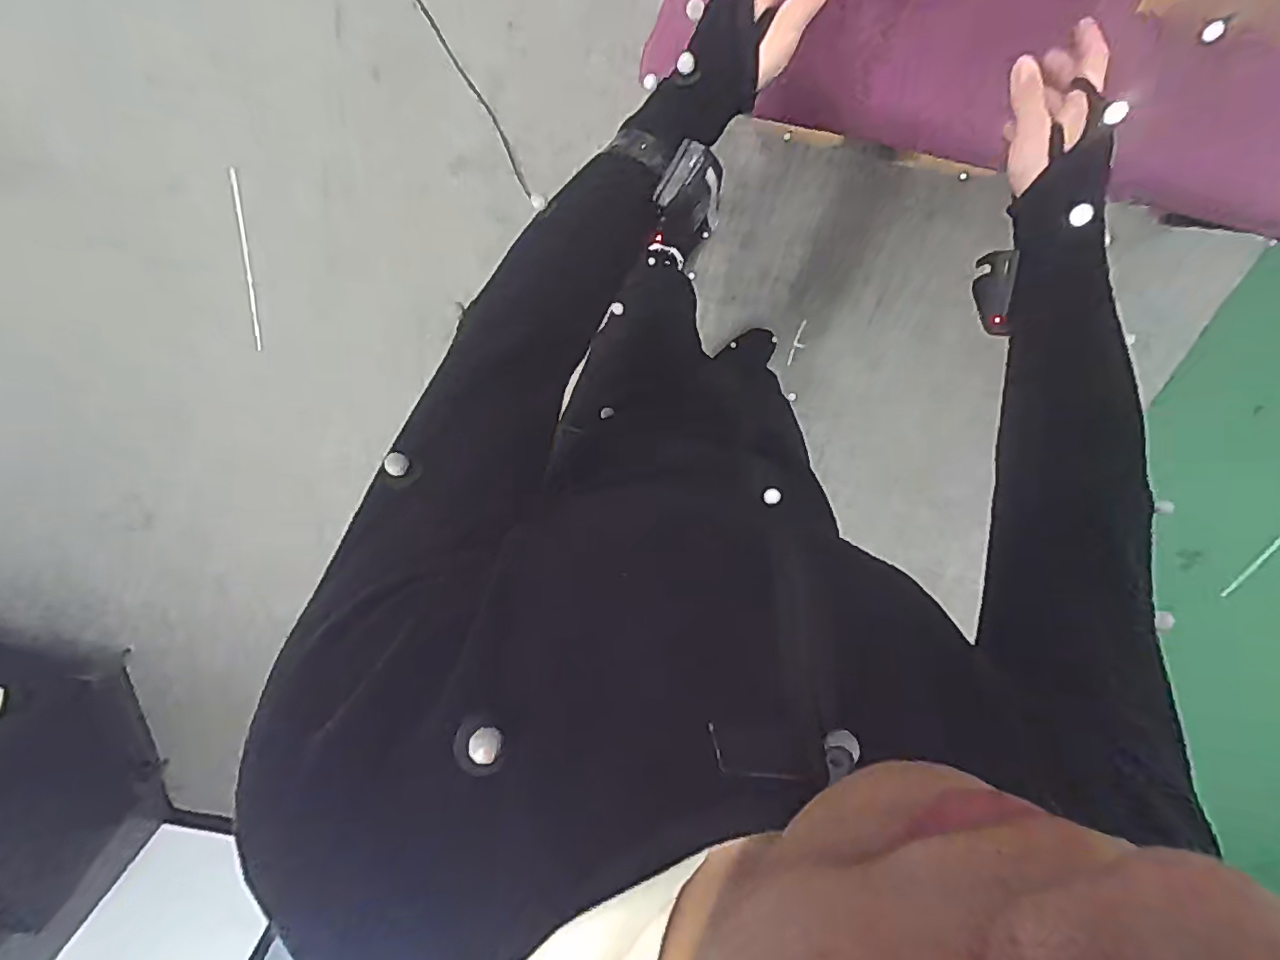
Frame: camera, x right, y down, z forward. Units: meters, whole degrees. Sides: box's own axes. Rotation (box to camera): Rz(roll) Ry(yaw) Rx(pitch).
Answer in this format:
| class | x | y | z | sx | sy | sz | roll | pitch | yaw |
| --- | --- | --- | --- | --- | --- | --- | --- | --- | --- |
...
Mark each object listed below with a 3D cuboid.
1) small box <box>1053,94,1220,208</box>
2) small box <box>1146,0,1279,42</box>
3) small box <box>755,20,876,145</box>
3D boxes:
| class | x | y | z | sx | sy | sz | roll | pitch | yaw |
| --- | --- | --- | --- | --- | --- | --- | --- | --- | --- |
| small box | 1.030 | -0.690 | 1.147 | 0.168 | 0.176 | 0.179 | 10 | 118 | -1 |
| small box | 0.602 | -0.510 | 0.456 | 0.168 | 0.176 | 0.179 | 11 | 120 | 0 |
| small box | 0.354 | -0.821 | 1.136 | 0.179 | 0.176 | 0.168 | 15 | 119 | -3 |
